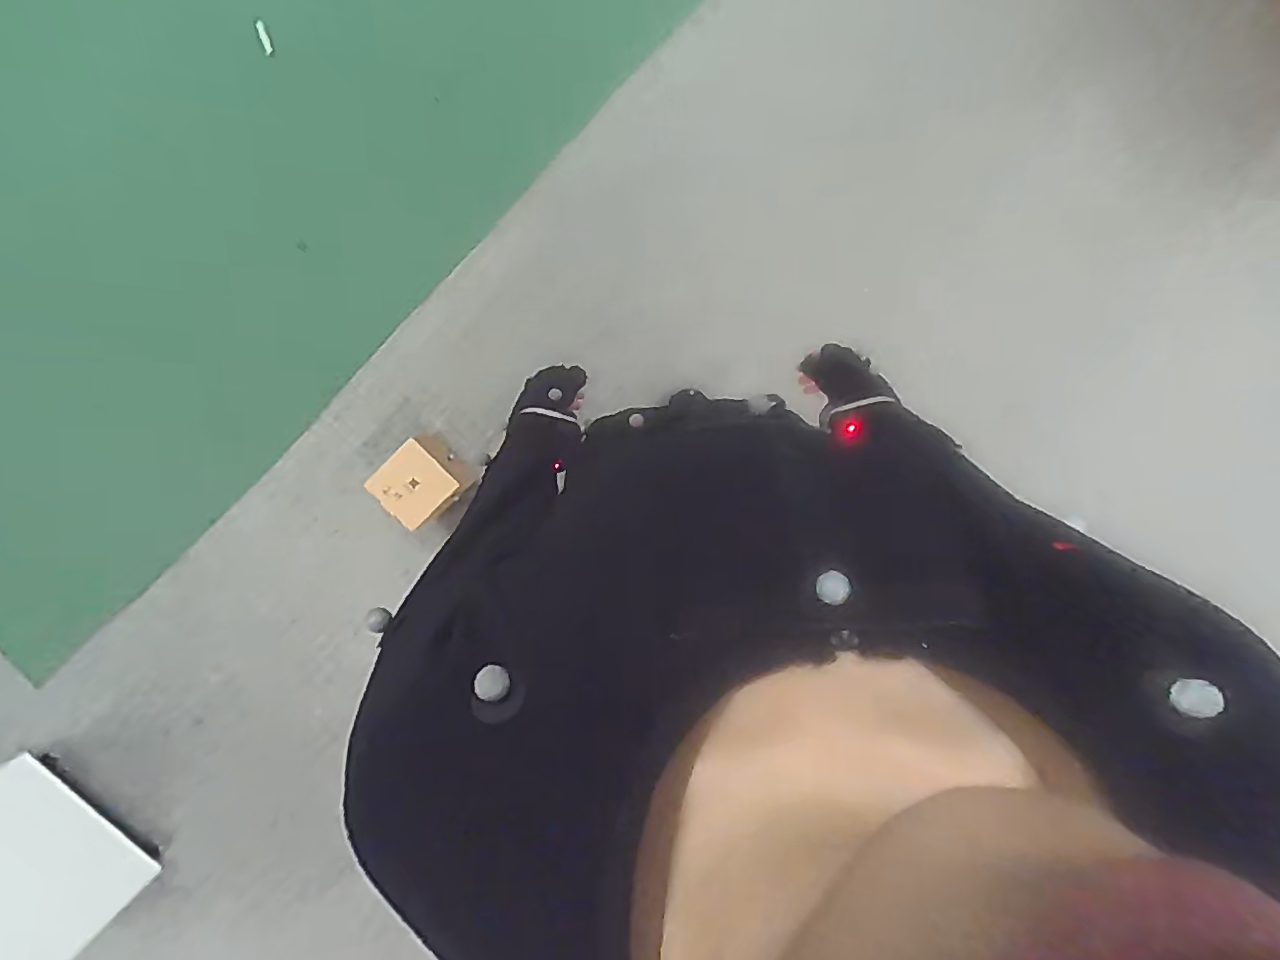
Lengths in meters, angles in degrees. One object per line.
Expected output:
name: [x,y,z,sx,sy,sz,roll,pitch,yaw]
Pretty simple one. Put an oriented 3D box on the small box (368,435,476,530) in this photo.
small box: [-0.545,-0.002,1.389,0.179,0.176,0.168,-44,95,5]
